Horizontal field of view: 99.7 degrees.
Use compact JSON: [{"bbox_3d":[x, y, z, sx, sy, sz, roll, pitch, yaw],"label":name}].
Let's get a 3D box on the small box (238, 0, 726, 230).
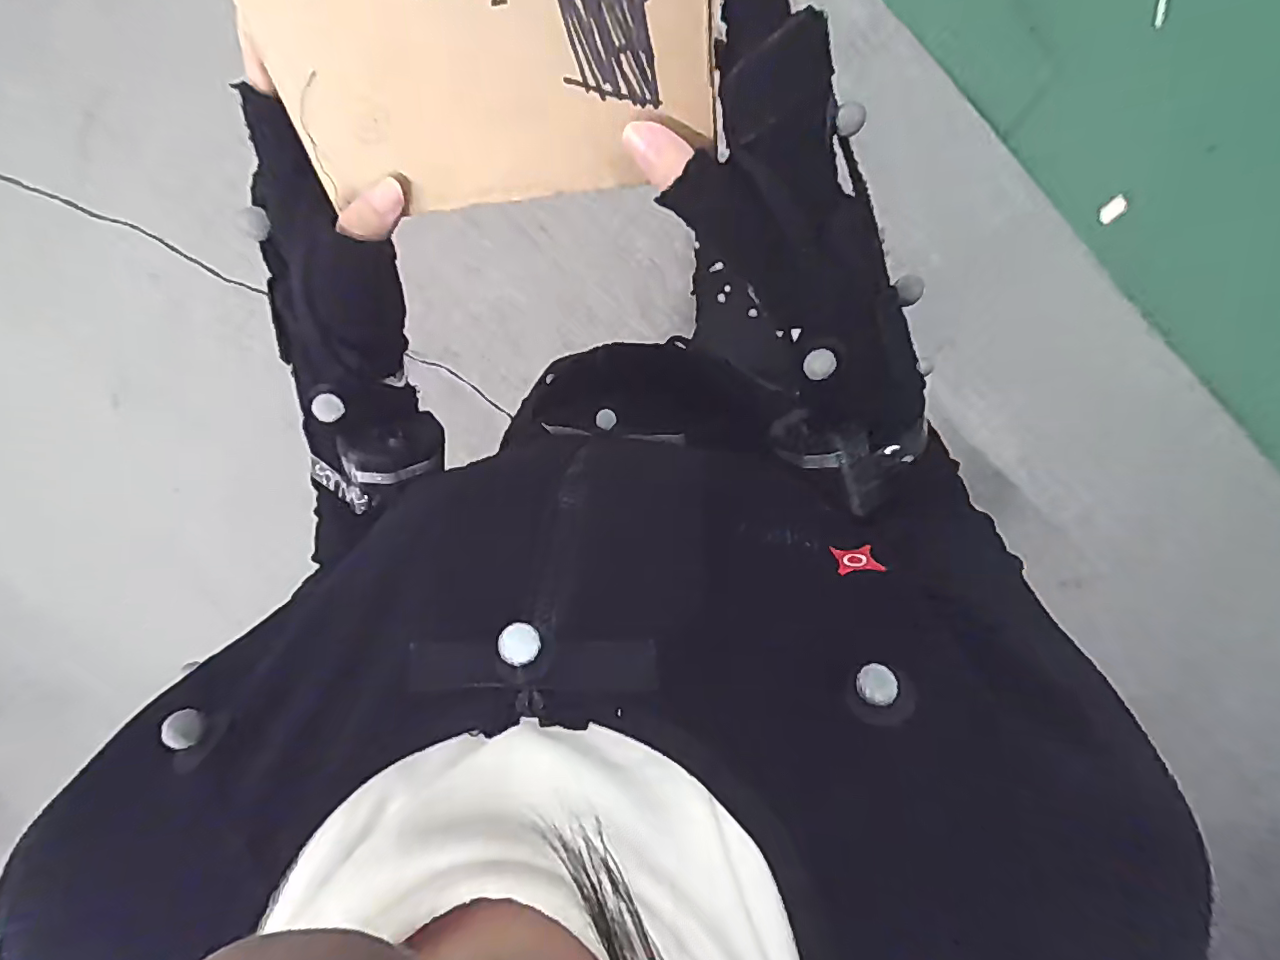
[{"bbox_3d":[-0.063,-0.242,0.247,0.179,0.176,0.168,-8,134,7],"label":"small box"}]
